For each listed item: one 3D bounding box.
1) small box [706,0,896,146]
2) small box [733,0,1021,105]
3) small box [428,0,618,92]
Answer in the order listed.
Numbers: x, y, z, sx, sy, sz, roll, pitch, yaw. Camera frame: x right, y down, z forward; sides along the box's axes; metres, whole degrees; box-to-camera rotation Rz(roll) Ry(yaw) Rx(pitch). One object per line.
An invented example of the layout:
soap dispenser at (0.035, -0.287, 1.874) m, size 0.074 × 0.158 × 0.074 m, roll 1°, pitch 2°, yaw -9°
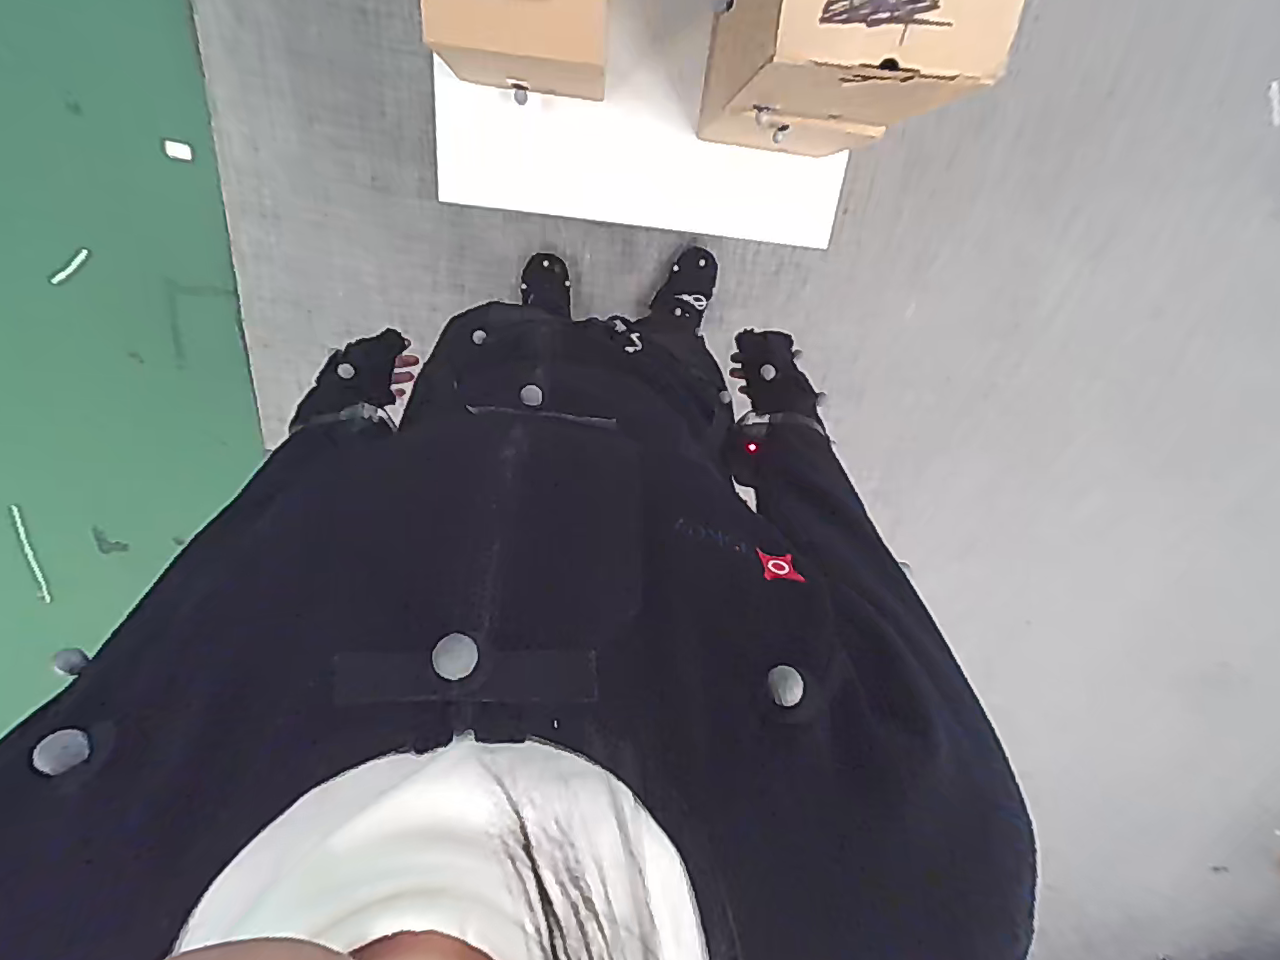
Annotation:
small box at (0.169, -0.465, 0.555) m, size 0.168 × 0.176 × 0.179 m, roll 5°, pitch 115°, yaw -5°
small box at (0.172, -0.401, 0.404) m, size 0.168 × 0.176 × 0.179 m, roll 2°, pitch 115°, yaw -4°
small box at (-0.104, -0.504, 0.523) m, size 0.168 × 0.176 × 0.179 m, roll 3°, pitch 117°, yaw -4°
